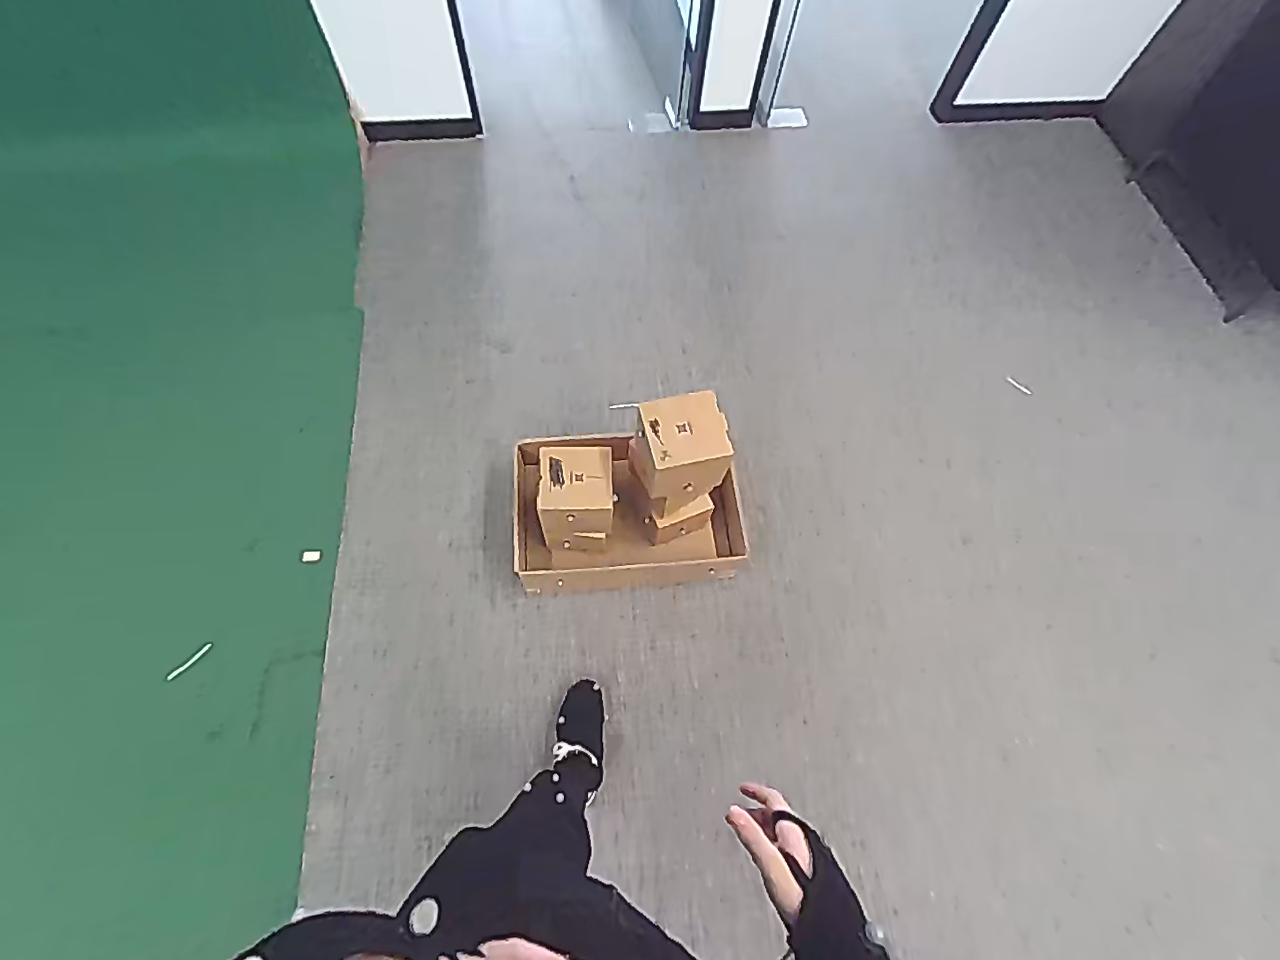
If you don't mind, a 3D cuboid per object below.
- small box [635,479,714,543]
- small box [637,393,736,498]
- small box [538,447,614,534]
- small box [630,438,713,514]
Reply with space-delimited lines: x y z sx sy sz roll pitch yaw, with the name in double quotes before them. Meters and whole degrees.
"small box" 0.092 0.064 1.526 0.168 0.176 0.179 -19 68 -11
"small box" 0.097 -0.074 1.230 0.179 0.176 0.168 -11 67 -9
"small box" -0.154 0.031 1.346 0.179 0.176 0.168 0 65 -5
"small box" 0.088 -0.031 1.390 0.168 0.176 0.179 -29 70 -15
